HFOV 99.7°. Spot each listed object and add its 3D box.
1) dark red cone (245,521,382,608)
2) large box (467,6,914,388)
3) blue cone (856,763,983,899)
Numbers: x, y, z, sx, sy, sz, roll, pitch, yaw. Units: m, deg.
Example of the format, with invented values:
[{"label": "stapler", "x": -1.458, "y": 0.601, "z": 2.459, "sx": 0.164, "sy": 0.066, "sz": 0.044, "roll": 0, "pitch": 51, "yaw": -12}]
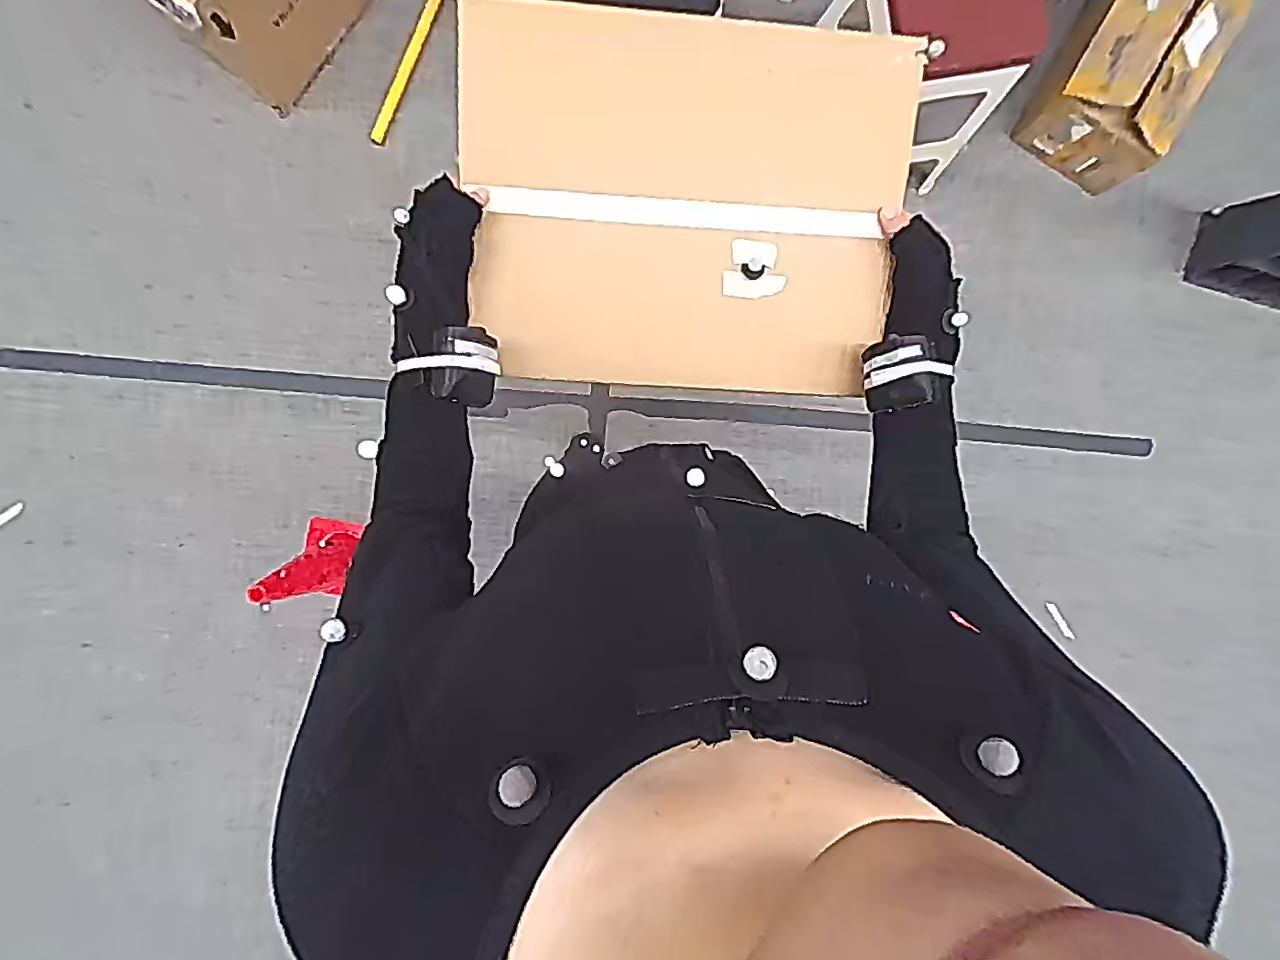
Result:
[{"label": "dark red cone", "x": -0.771, "y": 0.223, "z": 1.248, "sx": 0.201, "sy": 0.394, "sz": 0.202, "roll": 10, "pitch": 92, "yaw": -5}, {"label": "large box", "x": 0.034, "y": -0.278, "z": 0.647, "sx": 0.408, "sy": 0.320, "sz": 0.320, "roll": 2, "pitch": 103, "yaw": -4}, {"label": "blue cone", "x": 0.737, "y": 0.924, "z": 1.408, "sx": 0.192, "sy": 0.380, "sz": 0.193, "roll": 8, "pitch": 93, "yaw": -5}]
